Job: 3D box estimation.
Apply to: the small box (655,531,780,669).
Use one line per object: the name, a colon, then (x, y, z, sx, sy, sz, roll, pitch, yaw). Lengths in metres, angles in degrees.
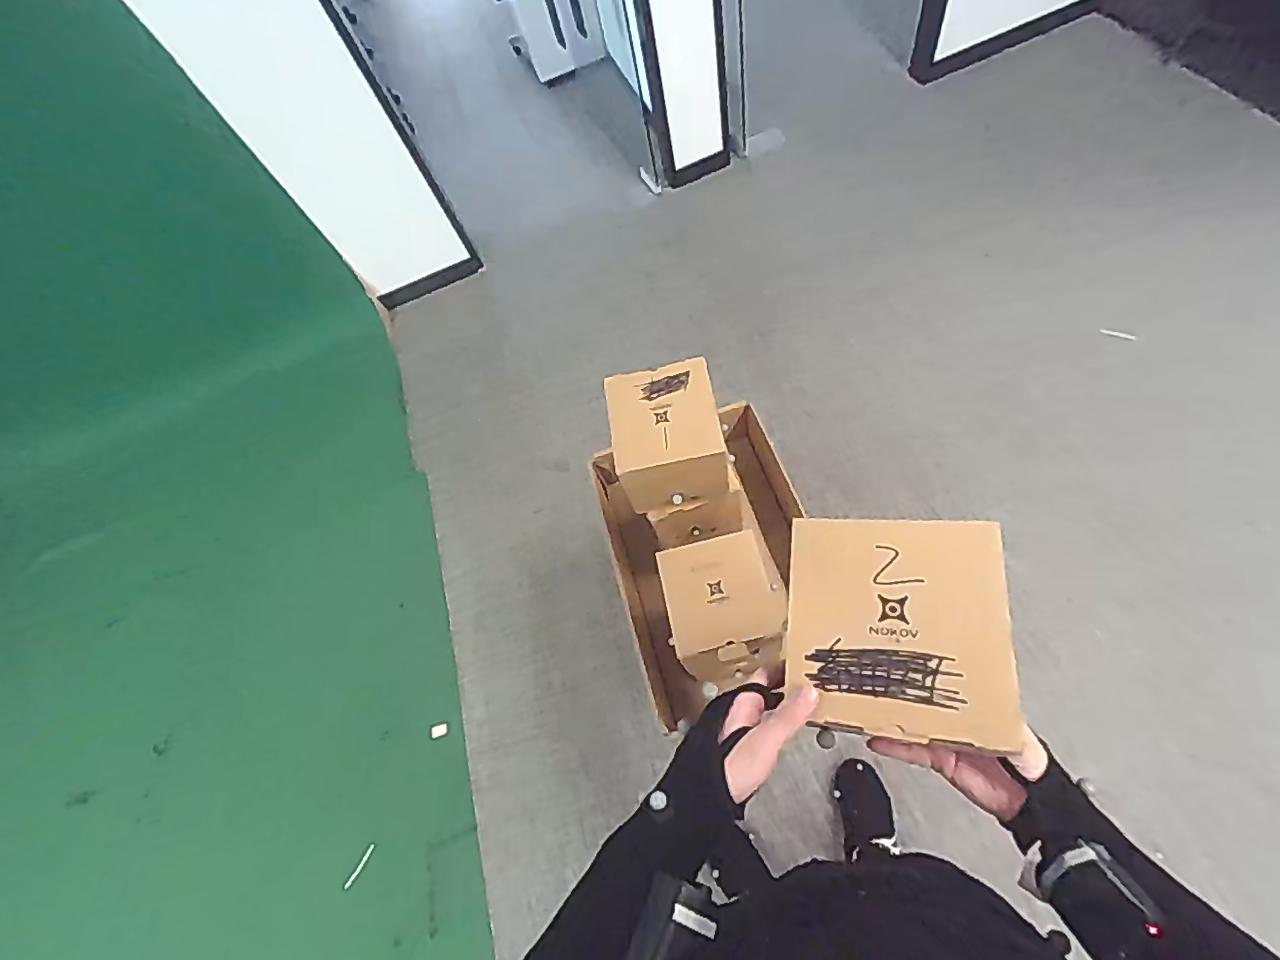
small box: (0.133, 0.212, 0.912, 0.168, 0.176, 0.179, -14, 59, 5)

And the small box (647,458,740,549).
small box: (0.083, 0.008, 1.034, 0.168, 0.176, 0.179, -20, 63, 2)

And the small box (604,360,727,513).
small box: (0.045, -0.065, 0.892, 0.168, 0.176, 0.179, -12, 64, 7)
